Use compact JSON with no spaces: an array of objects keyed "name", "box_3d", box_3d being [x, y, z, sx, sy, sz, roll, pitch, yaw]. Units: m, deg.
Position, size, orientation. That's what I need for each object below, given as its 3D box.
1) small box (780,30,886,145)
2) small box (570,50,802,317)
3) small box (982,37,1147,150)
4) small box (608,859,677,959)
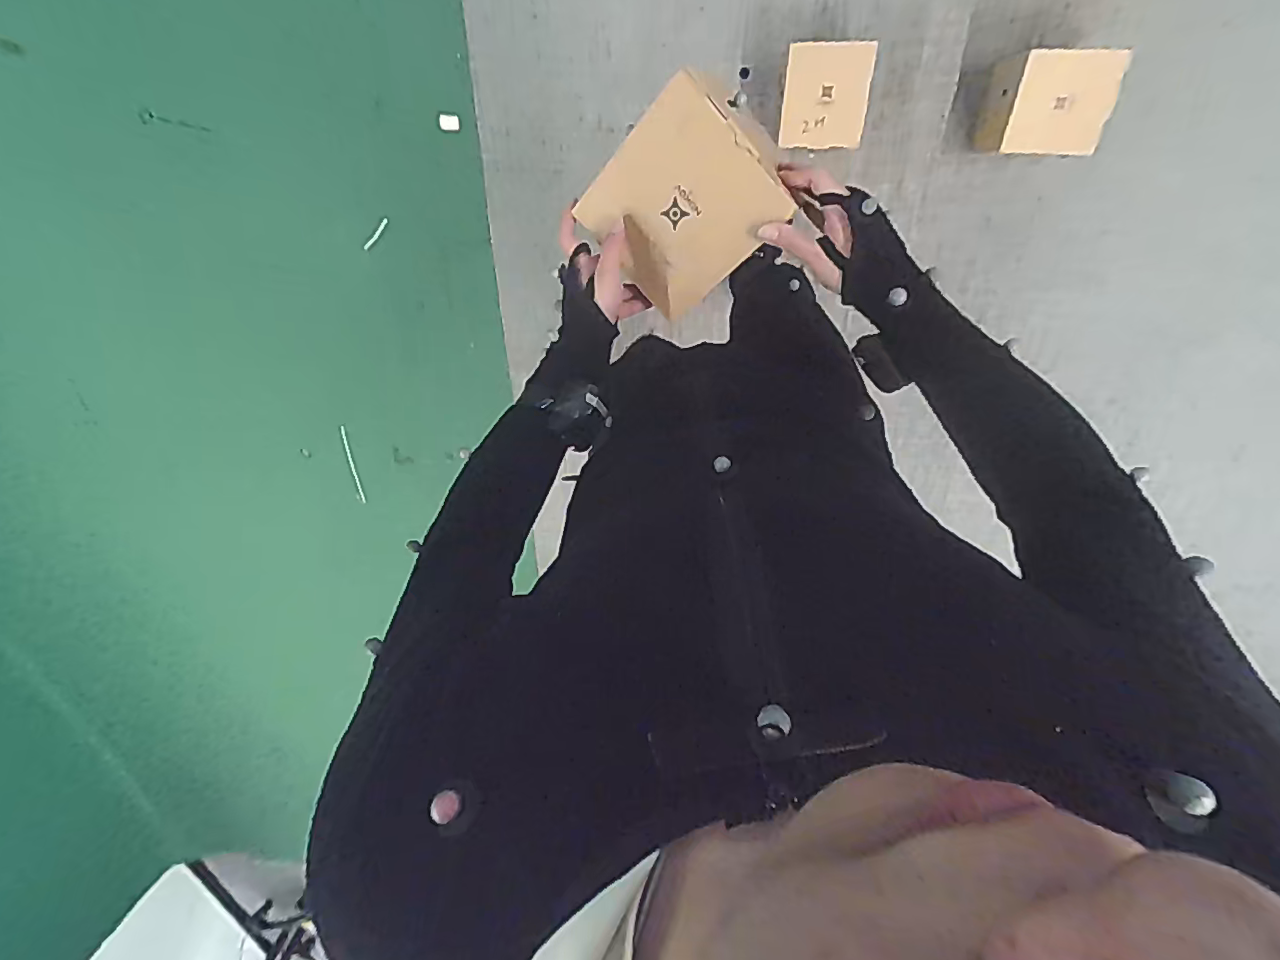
[{"name":"small box","box_3d":[0.386,-0.802,1.118,0.168,0.176,0.179,6,121,8]},{"name":"small box","box_3d":[0.060,-0.319,0.593,0.168,0.176,0.179,46,127,-12]},{"name":"small box","box_3d":[0.815,-0.751,1.064,0.179,0.176,0.168,6,121,7]},{"name":"small box","box_3d":[0.010,1.207,1.526,0.179,0.176,0.168,5,122,8]}]
